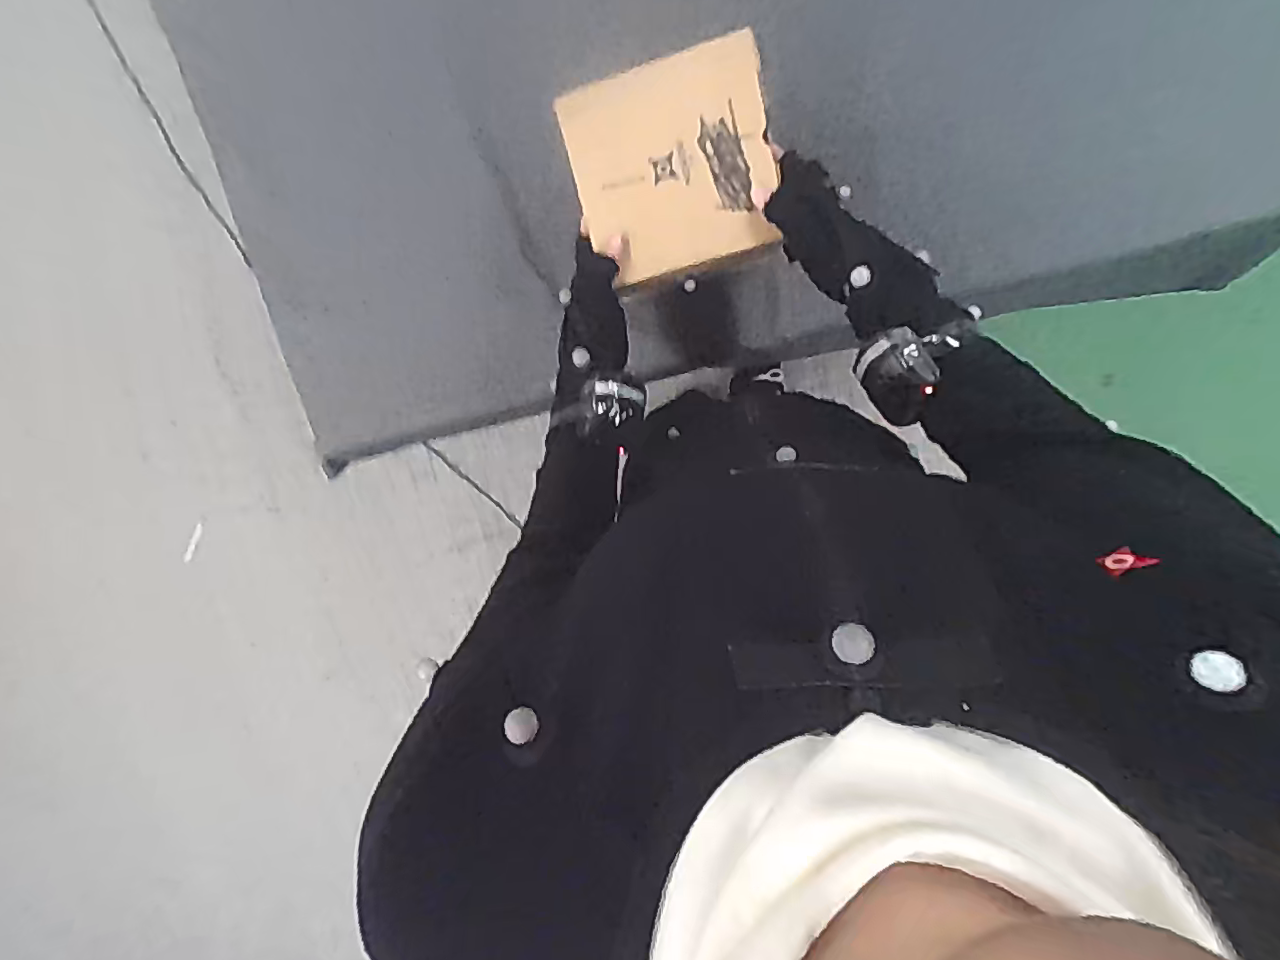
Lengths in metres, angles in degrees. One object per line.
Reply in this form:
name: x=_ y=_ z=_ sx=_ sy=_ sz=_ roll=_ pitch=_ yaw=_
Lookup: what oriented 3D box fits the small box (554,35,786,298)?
small box: x=0.035 y=-0.293 z=0.550 sx=0.179 sy=0.176 sz=0.168 roll=-13 pitch=103 yaw=10
